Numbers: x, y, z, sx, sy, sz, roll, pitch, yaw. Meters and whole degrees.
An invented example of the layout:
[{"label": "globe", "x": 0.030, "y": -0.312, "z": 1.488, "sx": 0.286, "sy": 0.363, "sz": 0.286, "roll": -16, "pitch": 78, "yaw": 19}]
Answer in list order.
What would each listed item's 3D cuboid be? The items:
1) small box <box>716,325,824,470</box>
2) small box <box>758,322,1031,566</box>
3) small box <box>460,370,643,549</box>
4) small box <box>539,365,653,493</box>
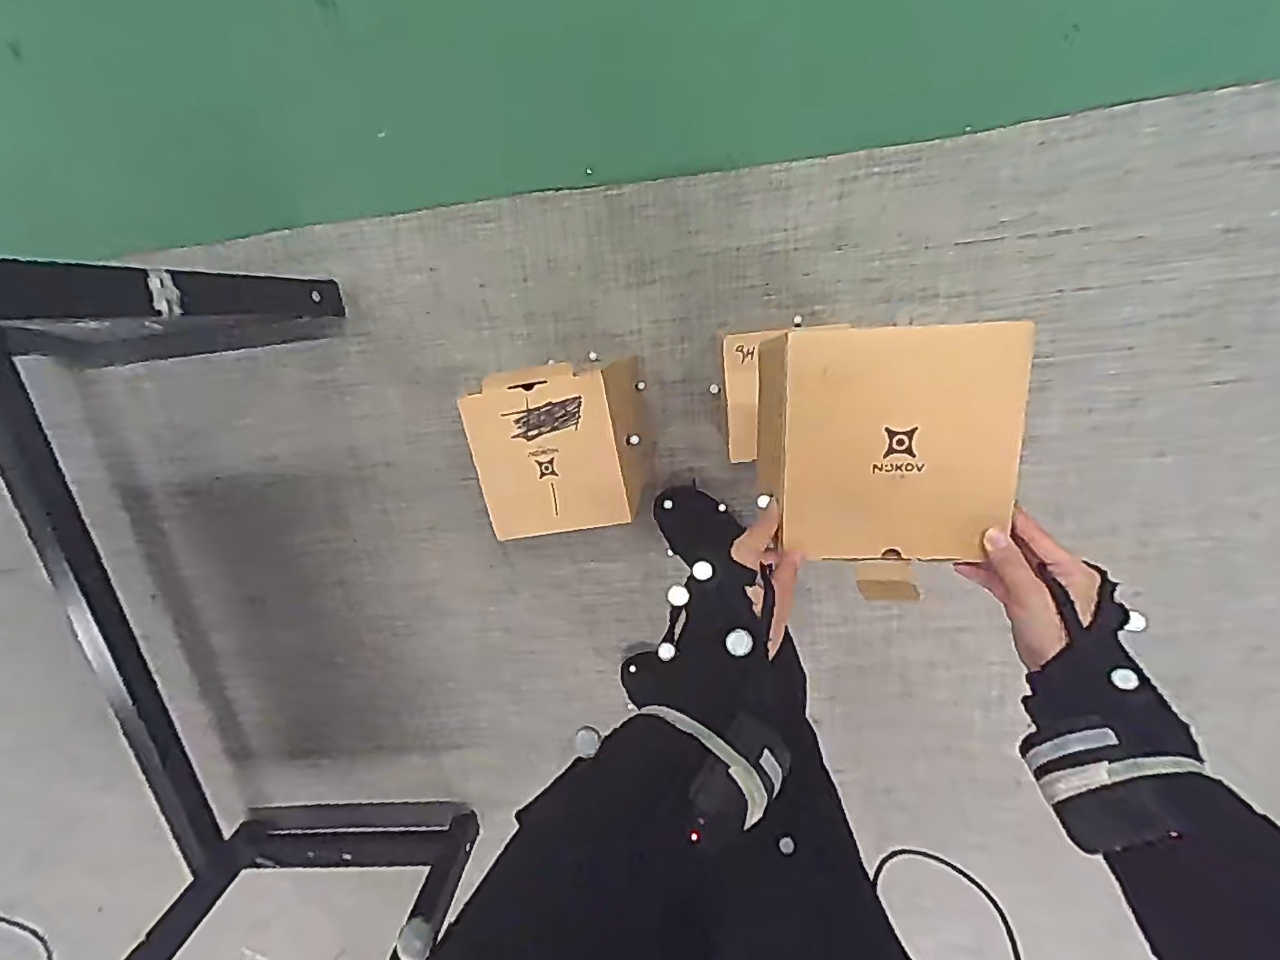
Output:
[{"label": "small box", "x": 0.201, "y": -0.126, "z": 0.788, "sx": 0.168, "sy": 0.176, "sz": 0.179, "roll": -4, "pitch": 108, "yaw": 5}, {"label": "small box", "x": 0.194, "y": -0.036, "z": 0.467, "sx": 0.168, "sy": 0.176, "sz": 0.179, "roll": -1, "pitch": 102, "yaw": 6}, {"label": "small box", "x": -0.094, "y": -0.035, "z": 0.669, "sx": 0.168, "sy": 0.176, "sz": 0.179, "roll": -9, "pitch": 106, "yaw": 8}, {"label": "small box", "x": -0.077, "y": -0.076, "z": 0.827, "sx": 0.168, "sy": 0.176, "sz": 0.179, "roll": -8, "pitch": 106, "yaw": 8}]
